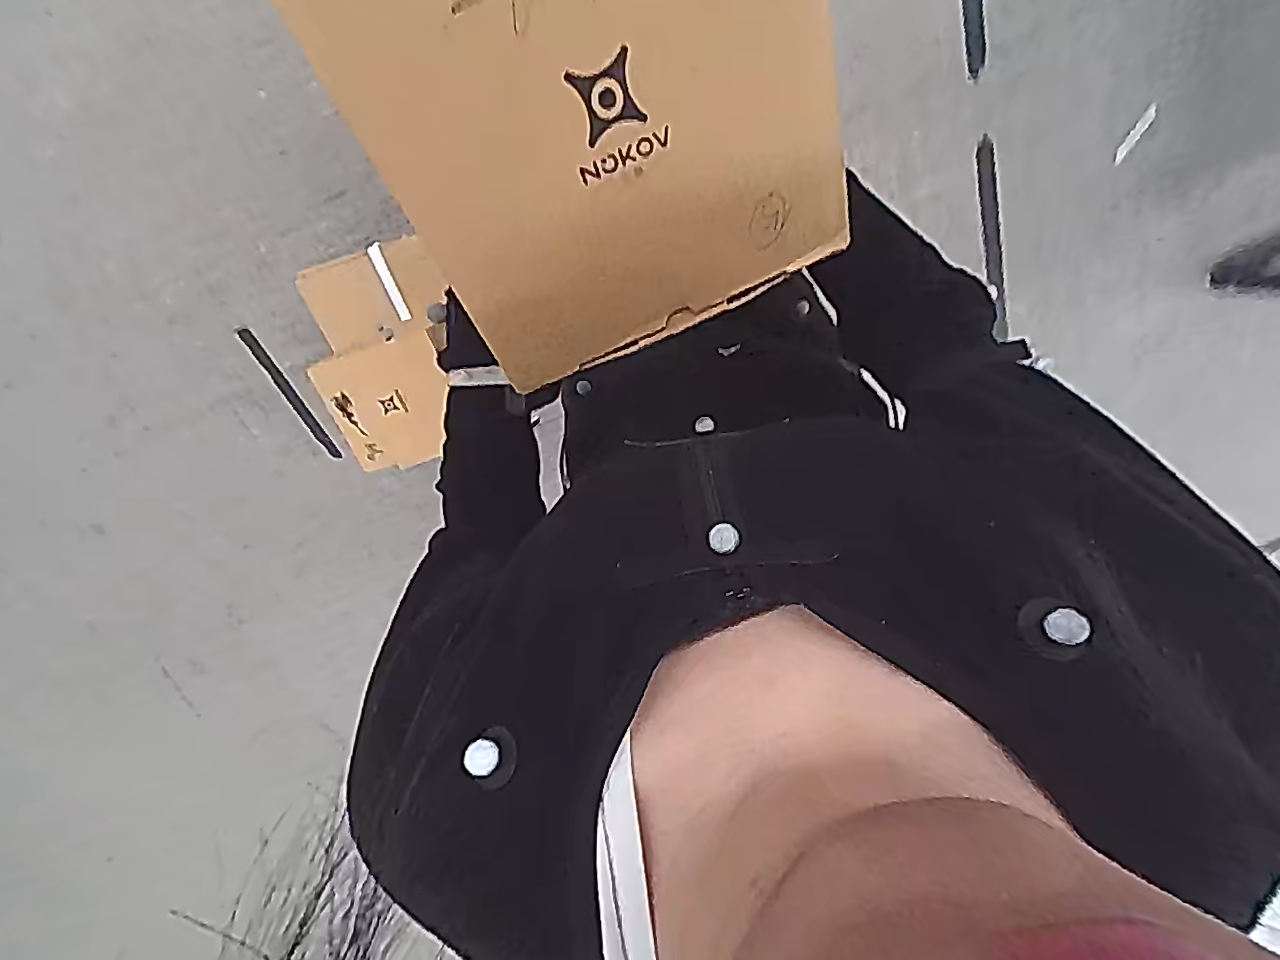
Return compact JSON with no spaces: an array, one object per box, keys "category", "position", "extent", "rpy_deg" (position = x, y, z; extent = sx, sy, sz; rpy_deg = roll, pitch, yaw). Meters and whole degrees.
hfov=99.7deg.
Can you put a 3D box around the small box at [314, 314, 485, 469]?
[{"category":"small box","position":[-0.352,-0.145,0.837],"extent":[0.179,0.176,0.168],"rpy_deg":[-20,115,-2]}]

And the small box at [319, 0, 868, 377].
[{"category":"small box","position":[-0.018,-0.185,0.248],"extent":[0.168,0.176,0.179],"rpy_deg":[-24,131,3]}]
